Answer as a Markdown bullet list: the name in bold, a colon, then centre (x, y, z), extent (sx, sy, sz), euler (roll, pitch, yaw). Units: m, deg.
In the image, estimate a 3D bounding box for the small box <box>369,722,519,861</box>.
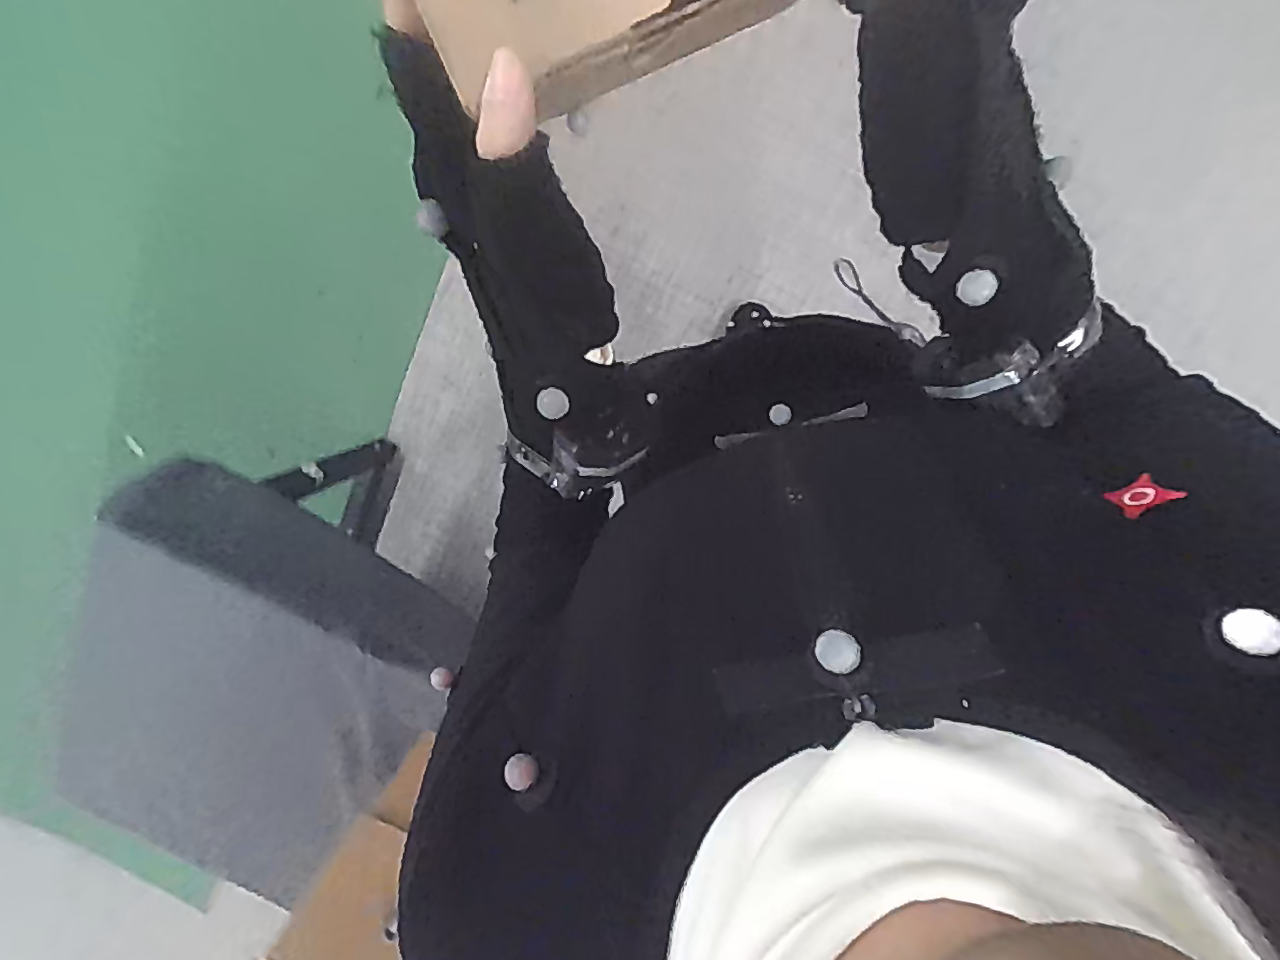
- **small box**: centre (-0.299, 0.505, 0.799), extent (0.168, 0.176, 0.179), euler (24, 107, -1)
